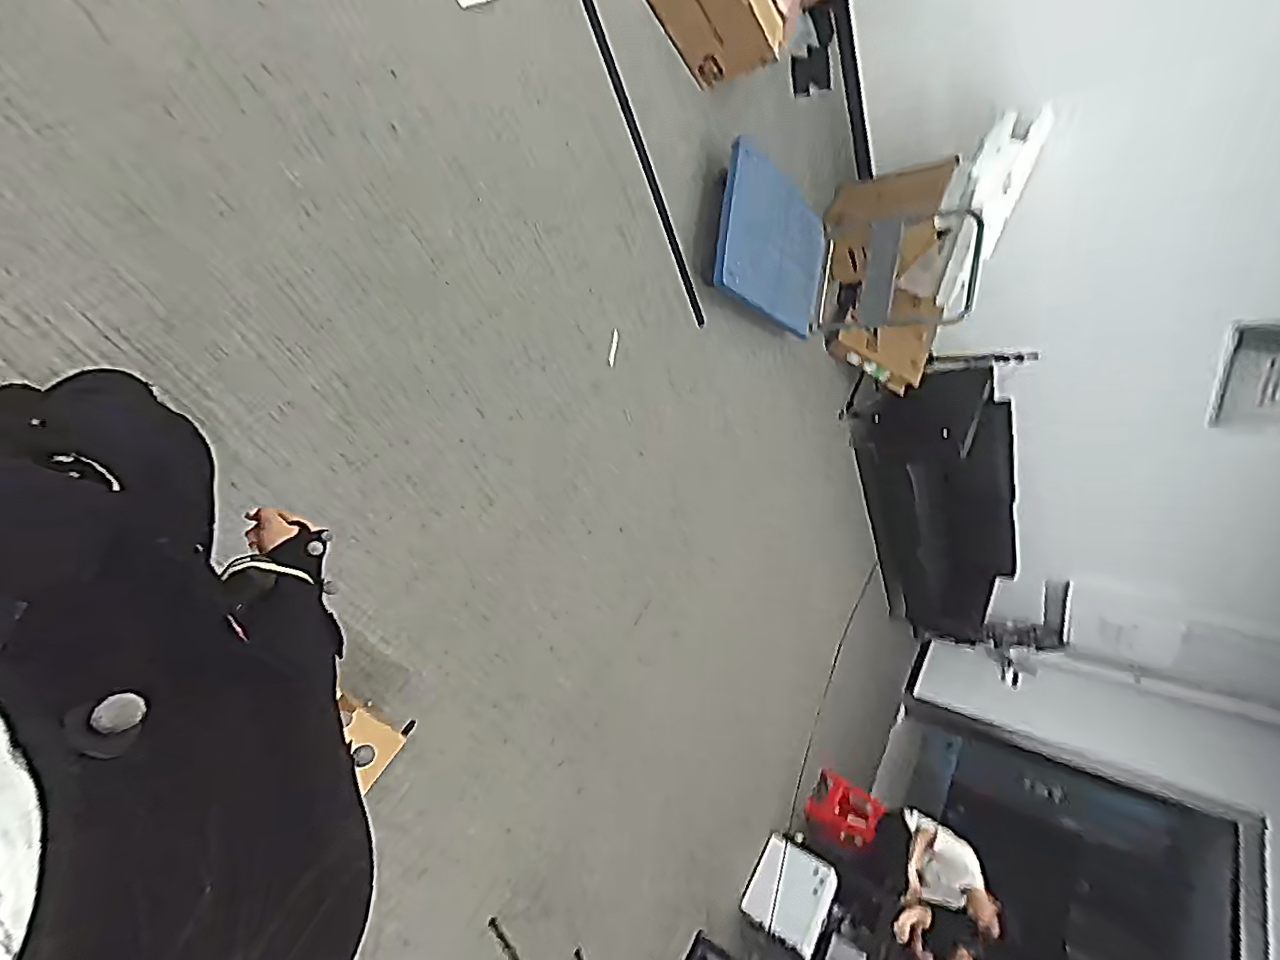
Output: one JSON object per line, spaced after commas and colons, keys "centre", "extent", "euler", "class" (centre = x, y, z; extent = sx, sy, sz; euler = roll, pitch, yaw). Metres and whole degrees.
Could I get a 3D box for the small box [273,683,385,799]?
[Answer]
{"centre": [-0.752, 0.631, 1.307], "extent": [0.168, 0.176, 0.179], "euler": [-53, 133, -30], "class": "small box"}
